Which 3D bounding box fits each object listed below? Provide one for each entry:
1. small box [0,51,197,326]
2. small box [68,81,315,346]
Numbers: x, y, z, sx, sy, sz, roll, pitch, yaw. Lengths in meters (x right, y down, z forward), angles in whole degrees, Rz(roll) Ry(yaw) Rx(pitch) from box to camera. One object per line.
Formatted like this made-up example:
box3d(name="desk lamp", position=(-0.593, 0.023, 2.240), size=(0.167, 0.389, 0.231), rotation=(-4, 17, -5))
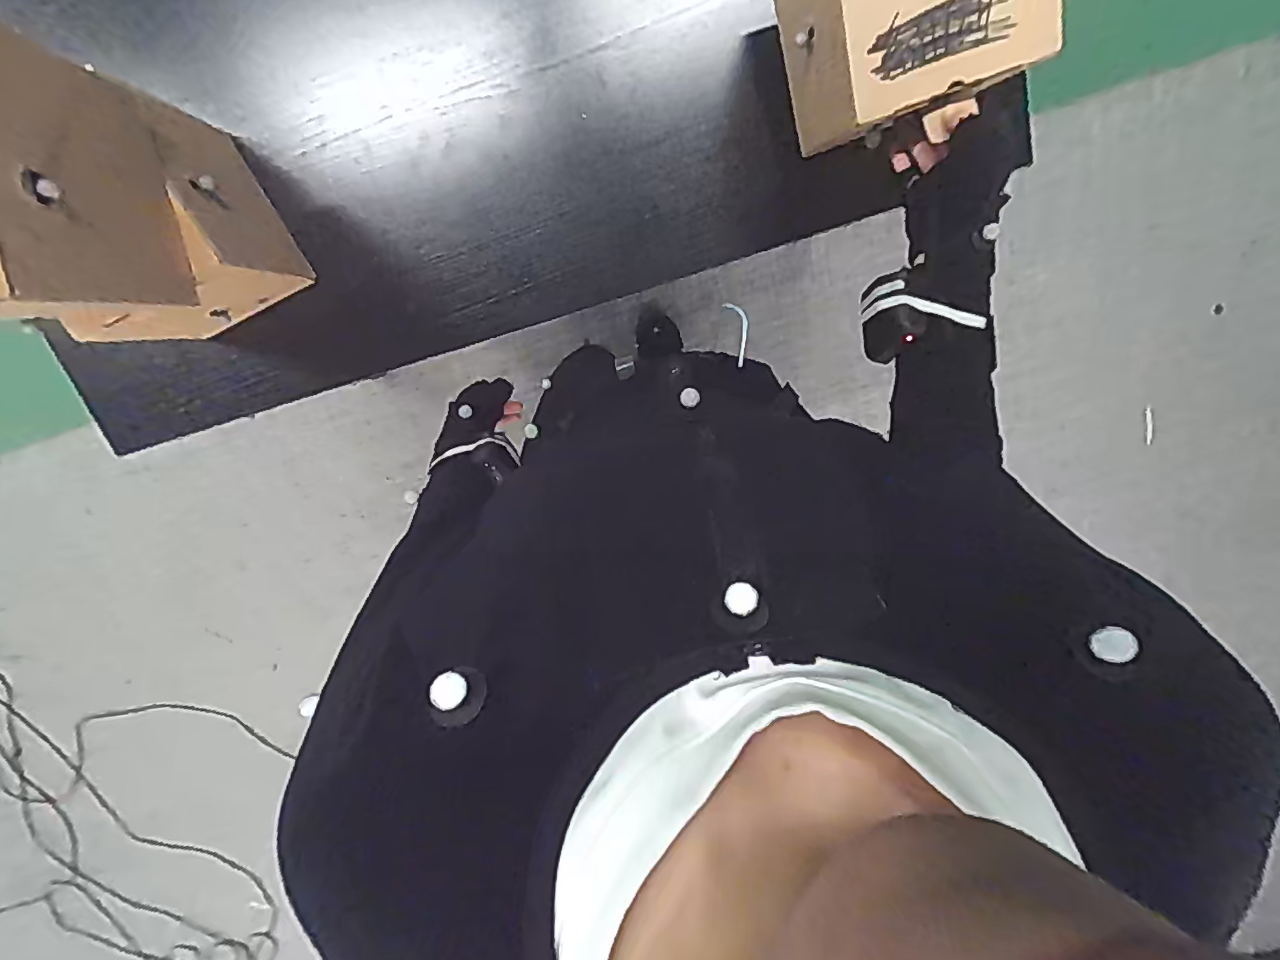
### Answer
box3d(name="small box", position=(-0.490, -0.209, 0.407), size=(0.168, 0.176, 0.179), rotation=(-5, 106, -2))
box3d(name="small box", position=(-0.494, -0.255, 0.565), size=(0.168, 0.176, 0.179), rotation=(-26, 107, 4))
